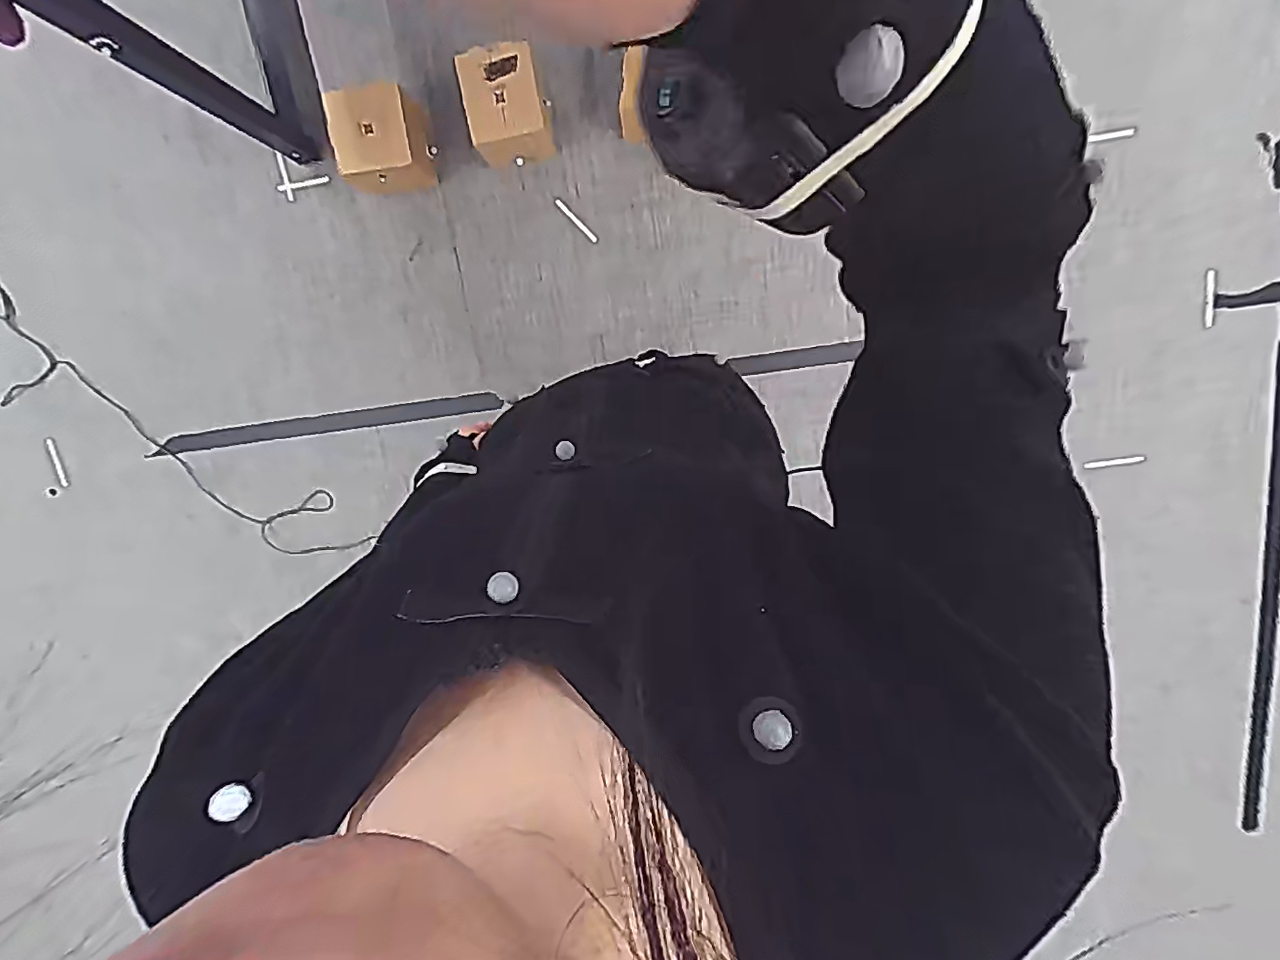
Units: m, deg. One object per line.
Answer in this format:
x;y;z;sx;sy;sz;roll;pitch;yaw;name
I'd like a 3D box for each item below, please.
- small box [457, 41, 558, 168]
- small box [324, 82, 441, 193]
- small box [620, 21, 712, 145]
-0.296;-0.851;1.243;0.168;0.176;0.179;-9;102;4;small box
-0.595;-0.792;1.268;0.179;0.176;0.168;-6;103;2;small box
0.058;-0.885;1.224;0.179;0.176;0.168;9;103;1;small box
